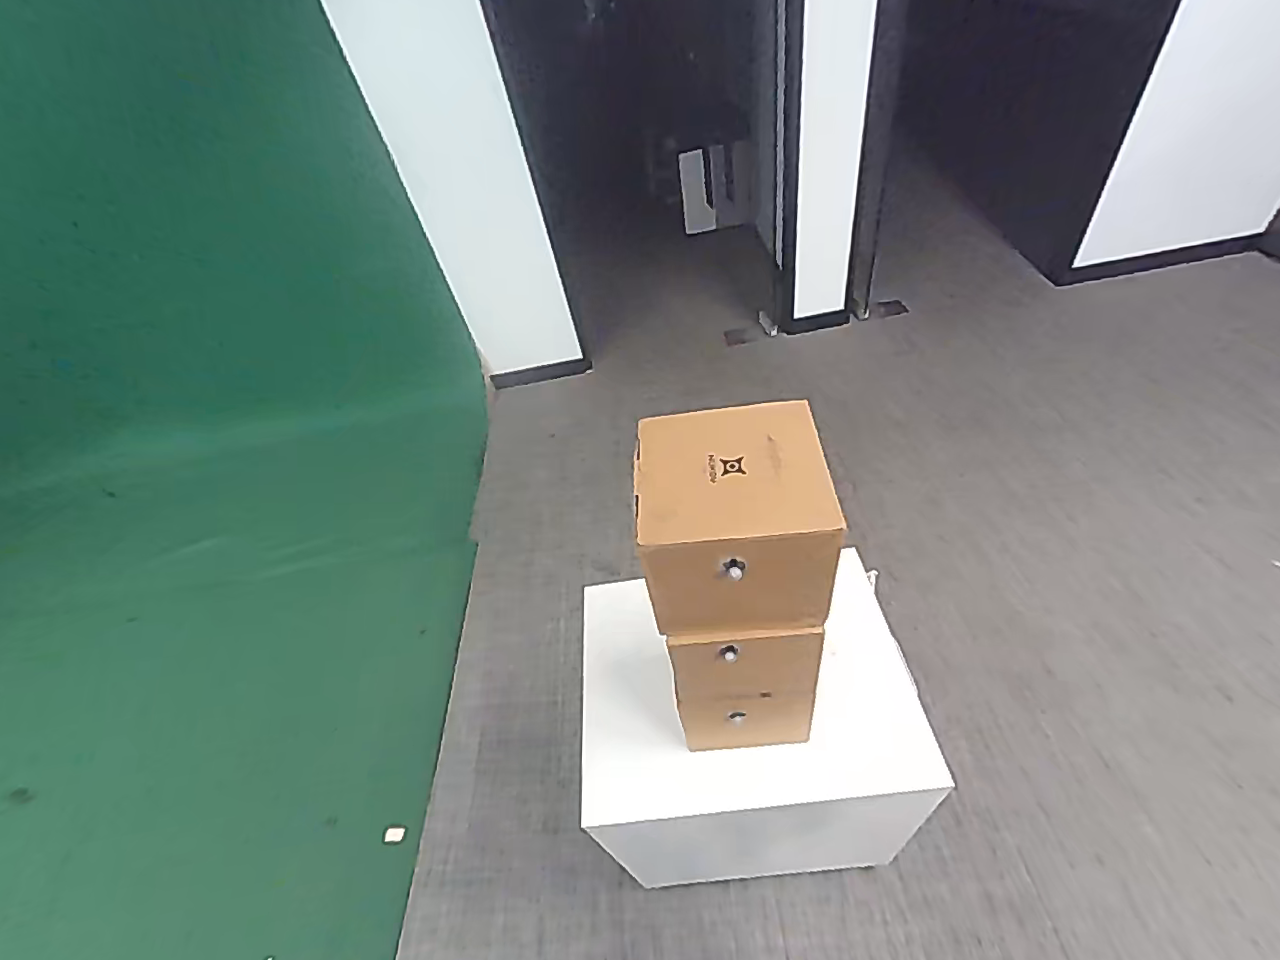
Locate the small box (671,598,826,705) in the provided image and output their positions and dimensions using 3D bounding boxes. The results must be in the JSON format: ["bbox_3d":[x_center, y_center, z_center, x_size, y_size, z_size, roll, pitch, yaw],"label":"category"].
[{"bbox_3d":[0.121,0.160,0.683,0.168,0.176,0.179,-8,46,4],"label":"small box"}]

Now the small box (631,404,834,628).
[{"bbox_3d":[0.092,0.044,0.570,0.179,0.176,0.168,-6,47,7],"label":"small box"}]

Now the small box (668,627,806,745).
[{"bbox_3d":[0.141,0.274,0.794,0.179,0.176,0.168,-7,45,6],"label":"small box"}]
